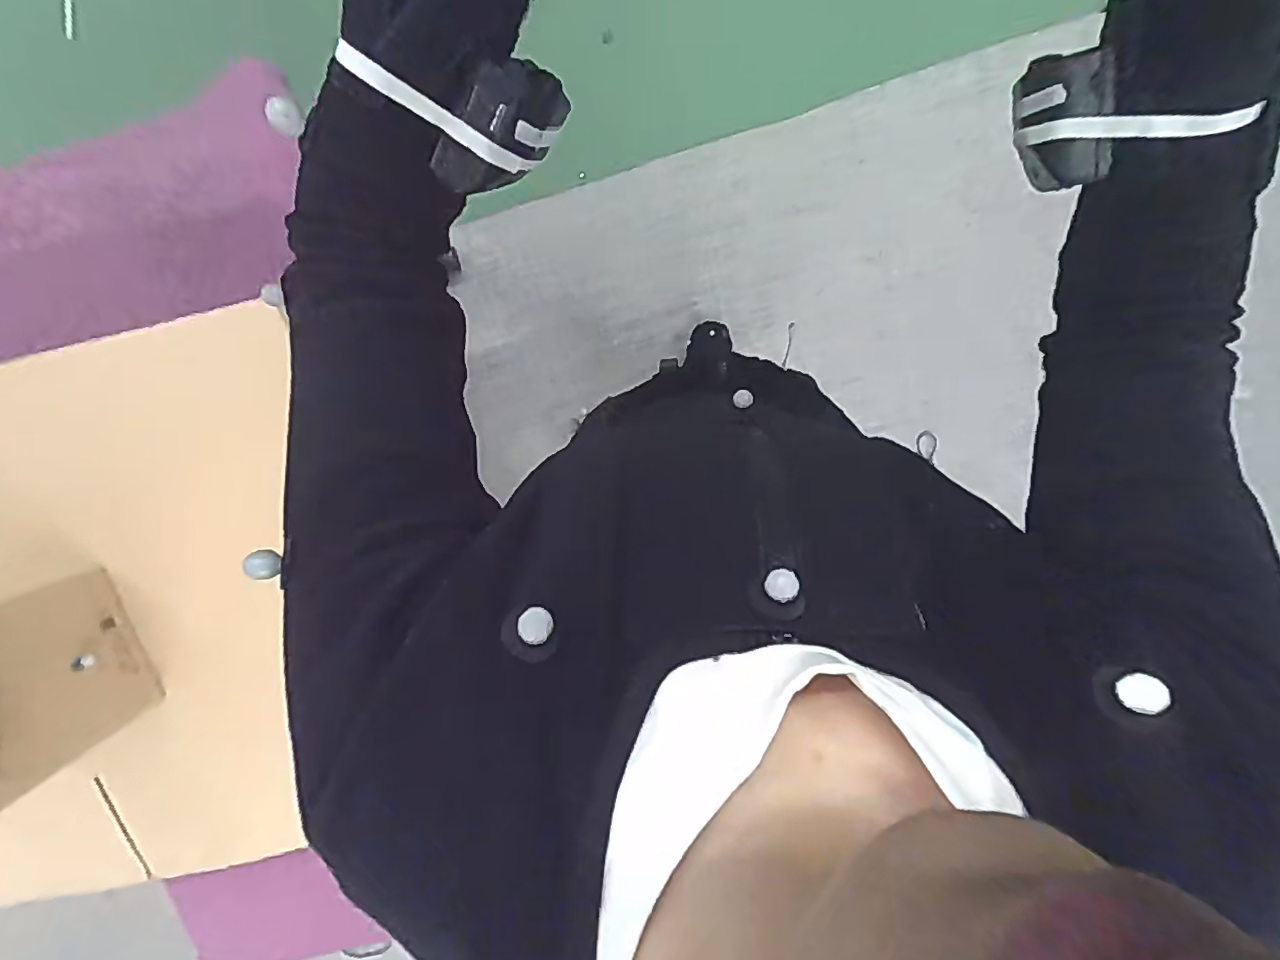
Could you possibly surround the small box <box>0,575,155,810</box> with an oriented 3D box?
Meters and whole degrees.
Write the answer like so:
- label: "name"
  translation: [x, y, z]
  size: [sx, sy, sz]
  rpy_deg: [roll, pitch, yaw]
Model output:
- label: "small box"
  translation: [-0.631, 0.208, 0.507]
  size: [0.179, 0.176, 0.168]
  rpy_deg: [-14, 102, 4]
